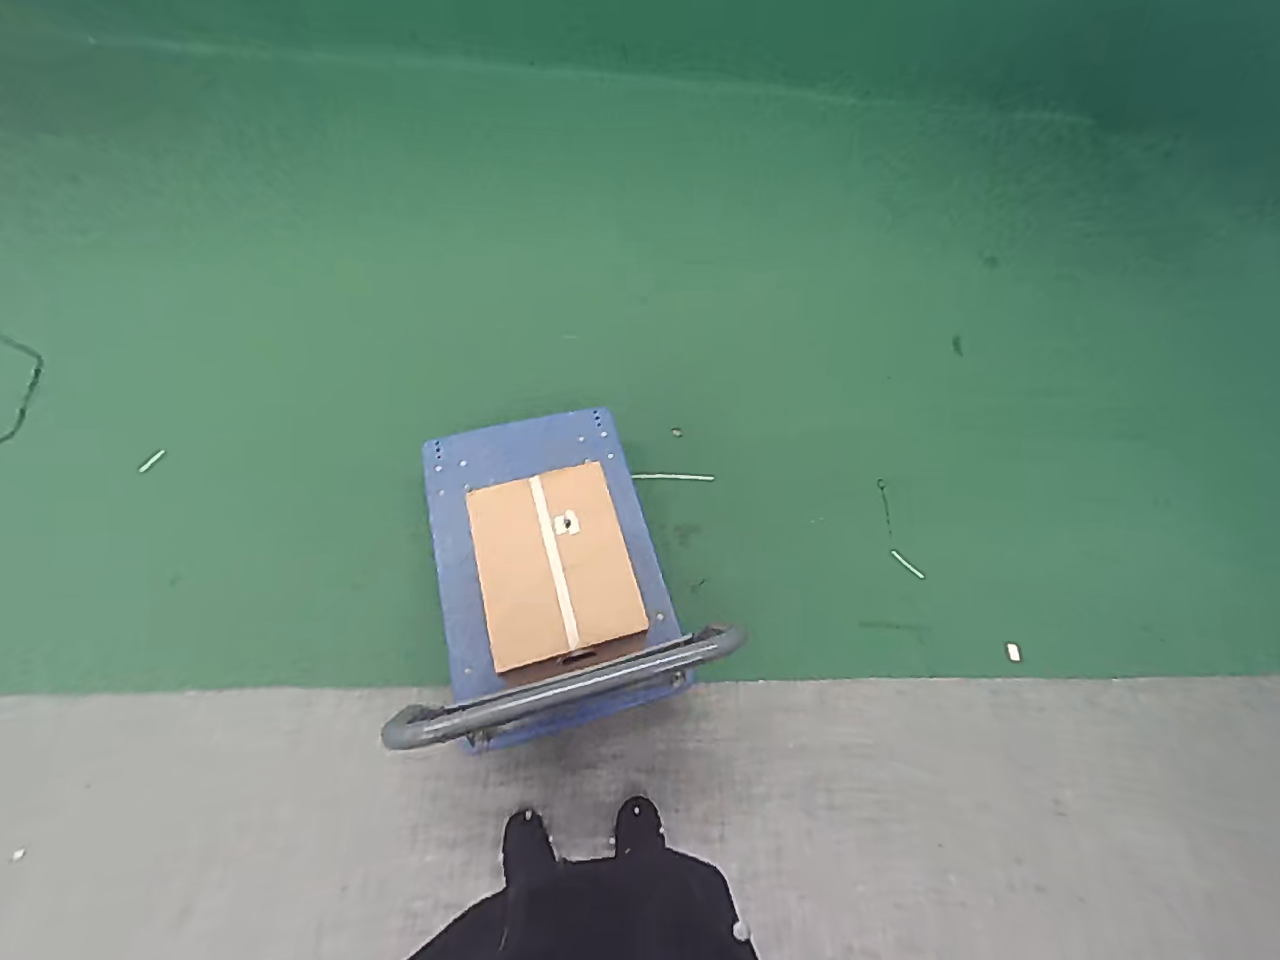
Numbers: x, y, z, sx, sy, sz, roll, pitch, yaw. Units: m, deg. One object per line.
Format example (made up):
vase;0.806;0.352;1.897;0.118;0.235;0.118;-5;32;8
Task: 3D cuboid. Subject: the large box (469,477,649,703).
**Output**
large box;-0.189;0.266;1.287;0.320;0.320;0.408;-13;62;-11
